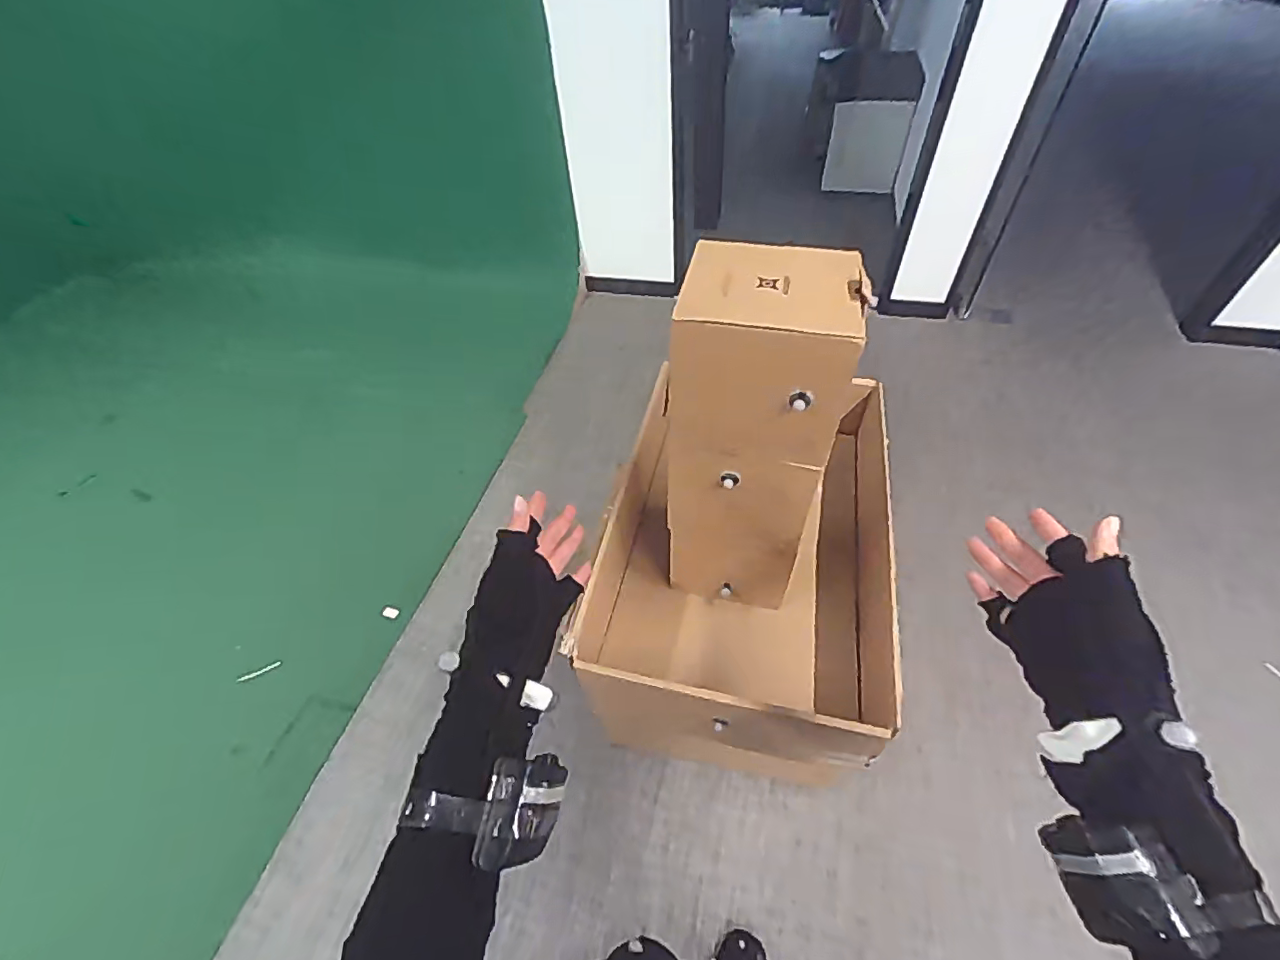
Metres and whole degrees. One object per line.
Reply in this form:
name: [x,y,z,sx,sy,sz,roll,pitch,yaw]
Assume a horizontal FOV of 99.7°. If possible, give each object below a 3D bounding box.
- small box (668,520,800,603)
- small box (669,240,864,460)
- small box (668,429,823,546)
small box: [0.146,0.072,0.843,0.179,0.176,0.168,10,49,10]
small box: [0.133,-0.140,0.595,0.179,0.176,0.168,8,48,11]
small box: [0.140,-0.033,0.717,0.179,0.176,0.168,12,50,12]
